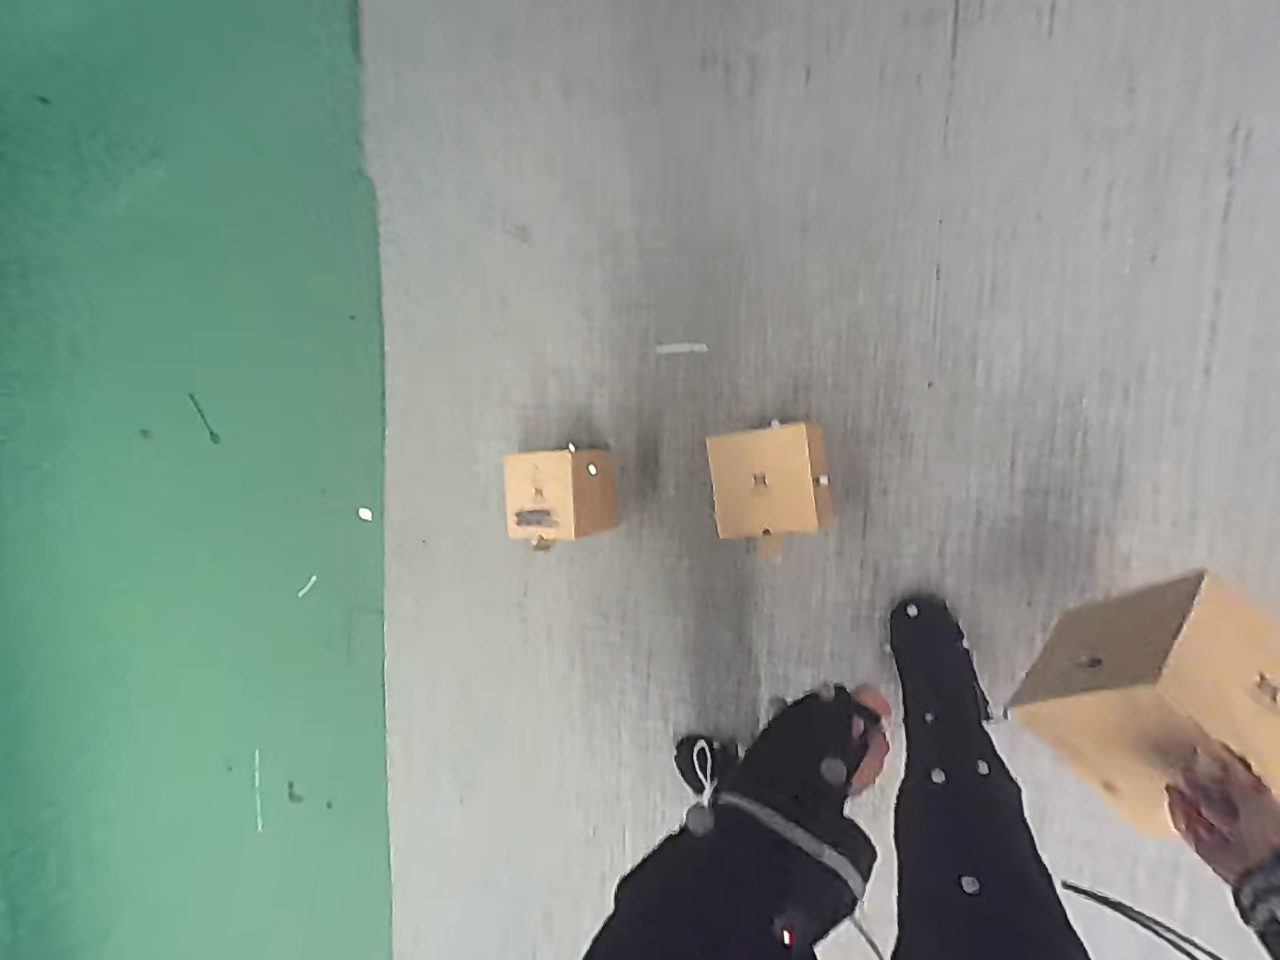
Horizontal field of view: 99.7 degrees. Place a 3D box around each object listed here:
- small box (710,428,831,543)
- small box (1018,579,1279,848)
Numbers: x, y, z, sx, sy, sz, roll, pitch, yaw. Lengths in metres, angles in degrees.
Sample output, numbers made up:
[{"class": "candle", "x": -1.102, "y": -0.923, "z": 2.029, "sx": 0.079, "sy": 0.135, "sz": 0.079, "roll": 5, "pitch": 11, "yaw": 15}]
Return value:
[{"class": "small box", "x": 0.234, "y": 0.008, "z": 0.951, "sx": 0.168, "sy": 0.176, "sz": 0.179, "roll": -7, "pitch": 91, "yaw": 26}, {"class": "small box", "x": 0.531, "y": 0.235, "z": 0.541, "sx": 0.168, "sy": 0.179, "sz": 0.176, "roll": 50, "pitch": 151, "yaw": 14}]
